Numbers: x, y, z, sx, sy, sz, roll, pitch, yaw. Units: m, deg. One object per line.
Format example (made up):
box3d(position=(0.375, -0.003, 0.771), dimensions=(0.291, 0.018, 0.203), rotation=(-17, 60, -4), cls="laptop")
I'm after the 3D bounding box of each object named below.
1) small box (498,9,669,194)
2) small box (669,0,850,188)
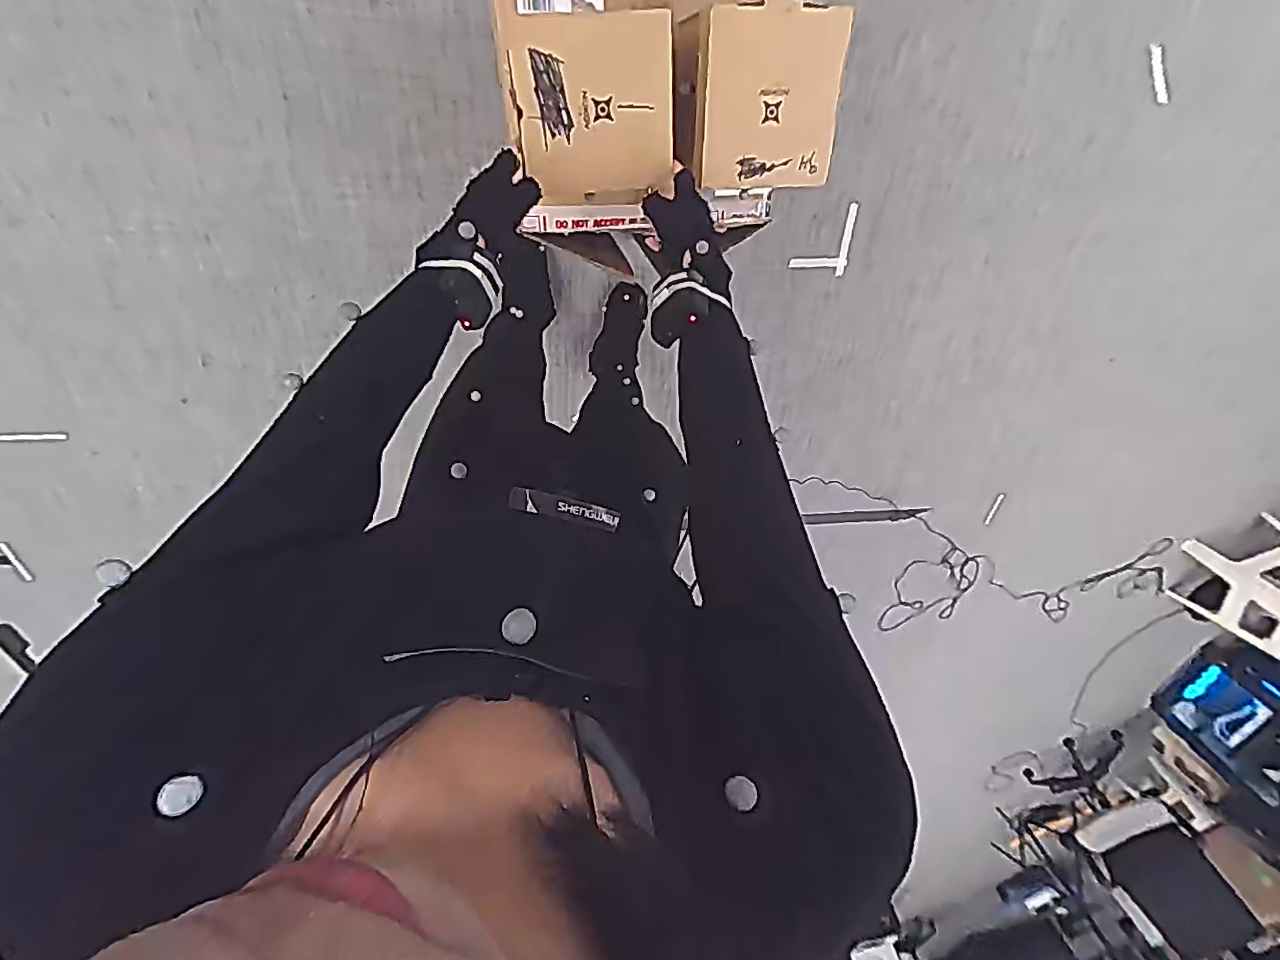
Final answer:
box3d(position=(-0.064, -0.451, 0.657), dimensions=(0.179, 0.176, 0.168), rotation=(-7, 124, -6), cls="small box")
box3d(position=(0.133, -0.475, 0.684), dimensions=(0.168, 0.176, 0.179), rotation=(-6, 124, -10), cls="small box")
